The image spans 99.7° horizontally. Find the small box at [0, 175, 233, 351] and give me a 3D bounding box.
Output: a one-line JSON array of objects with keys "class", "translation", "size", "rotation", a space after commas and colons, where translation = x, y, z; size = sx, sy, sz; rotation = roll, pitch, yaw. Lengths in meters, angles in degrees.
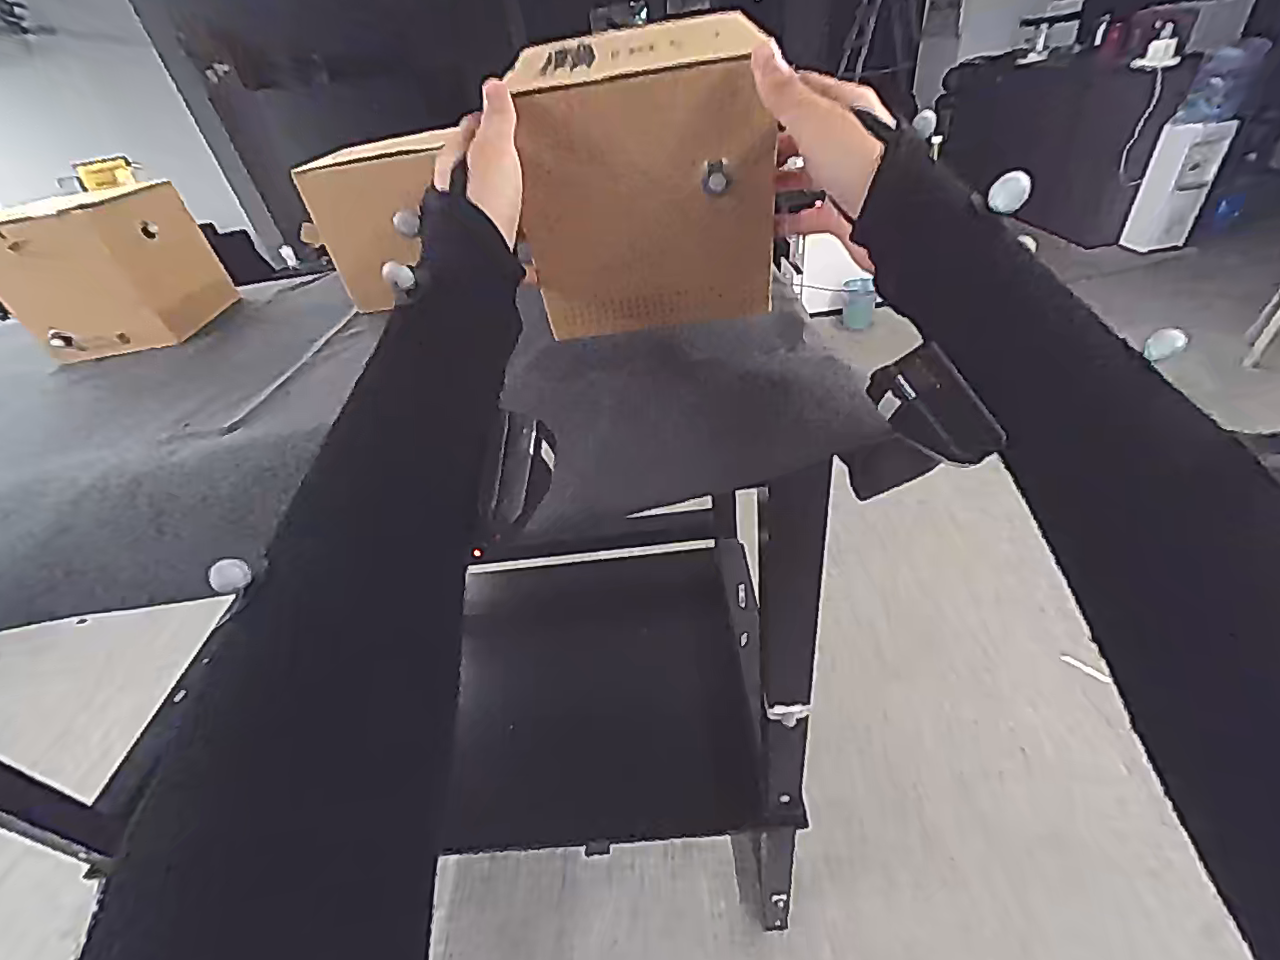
[{"class": "small box", "translation": [-0.696, -0.282, 0.715], "size": [0.168, 0.176, 0.179], "rotation": [-9, 39, 0]}]

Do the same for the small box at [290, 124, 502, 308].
[{"class": "small box", "translation": [-0.292, -0.340, 0.700], "size": [0.179, 0.176, 0.168], "rotation": [-7, 39, 3]}]
